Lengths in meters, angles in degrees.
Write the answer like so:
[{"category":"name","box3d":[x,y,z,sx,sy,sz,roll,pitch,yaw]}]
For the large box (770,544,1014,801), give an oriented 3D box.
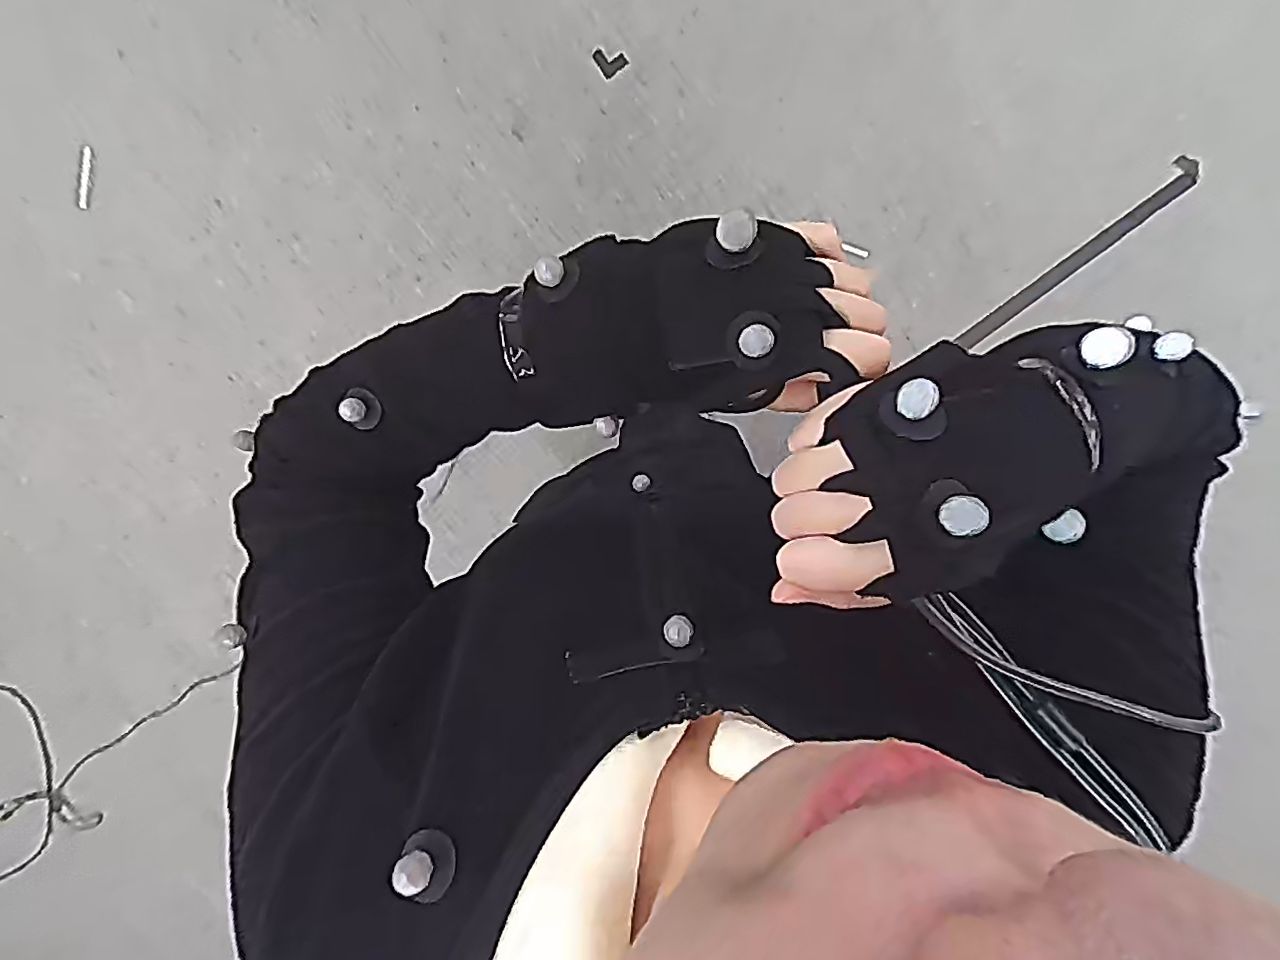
[{"category":"large box","box3d":[0.563,0.421,1.264,0.320,0.320,0.408,-27,100,-1]}]
